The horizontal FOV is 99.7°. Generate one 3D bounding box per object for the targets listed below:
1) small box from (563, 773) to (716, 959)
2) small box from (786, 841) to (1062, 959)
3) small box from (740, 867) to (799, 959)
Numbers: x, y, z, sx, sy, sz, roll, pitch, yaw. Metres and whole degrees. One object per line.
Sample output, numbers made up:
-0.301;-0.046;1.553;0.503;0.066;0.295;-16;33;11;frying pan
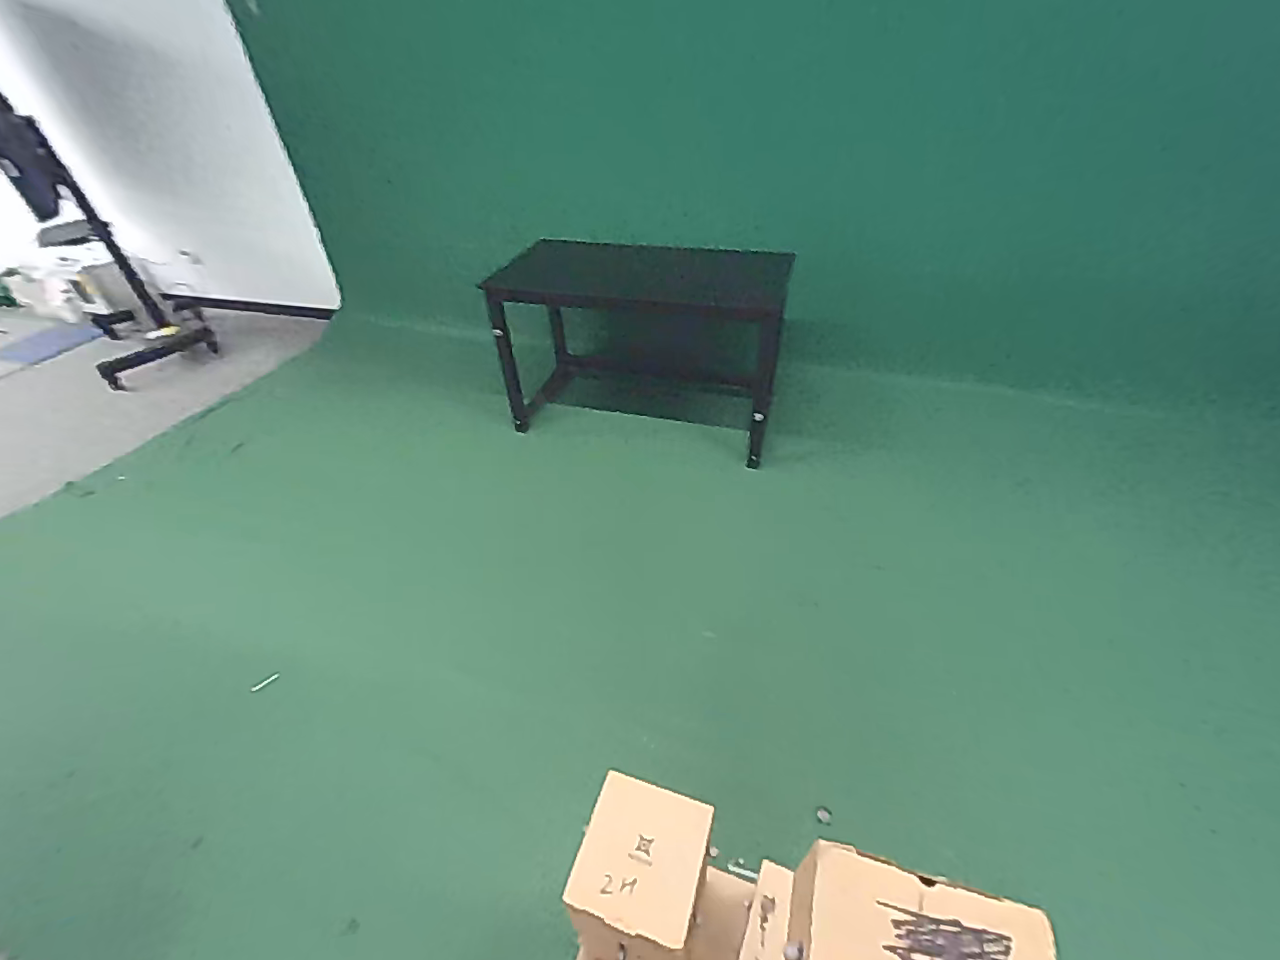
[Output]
0.006;0.571;0.783;0.168;0.176;0.179;11;41;17;small box
0.198;0.414;0.408;0.168;0.176;0.179;9;49;16;small box
0.246;0.738;0.816;0.179;0.176;0.168;14;42;22;small box
